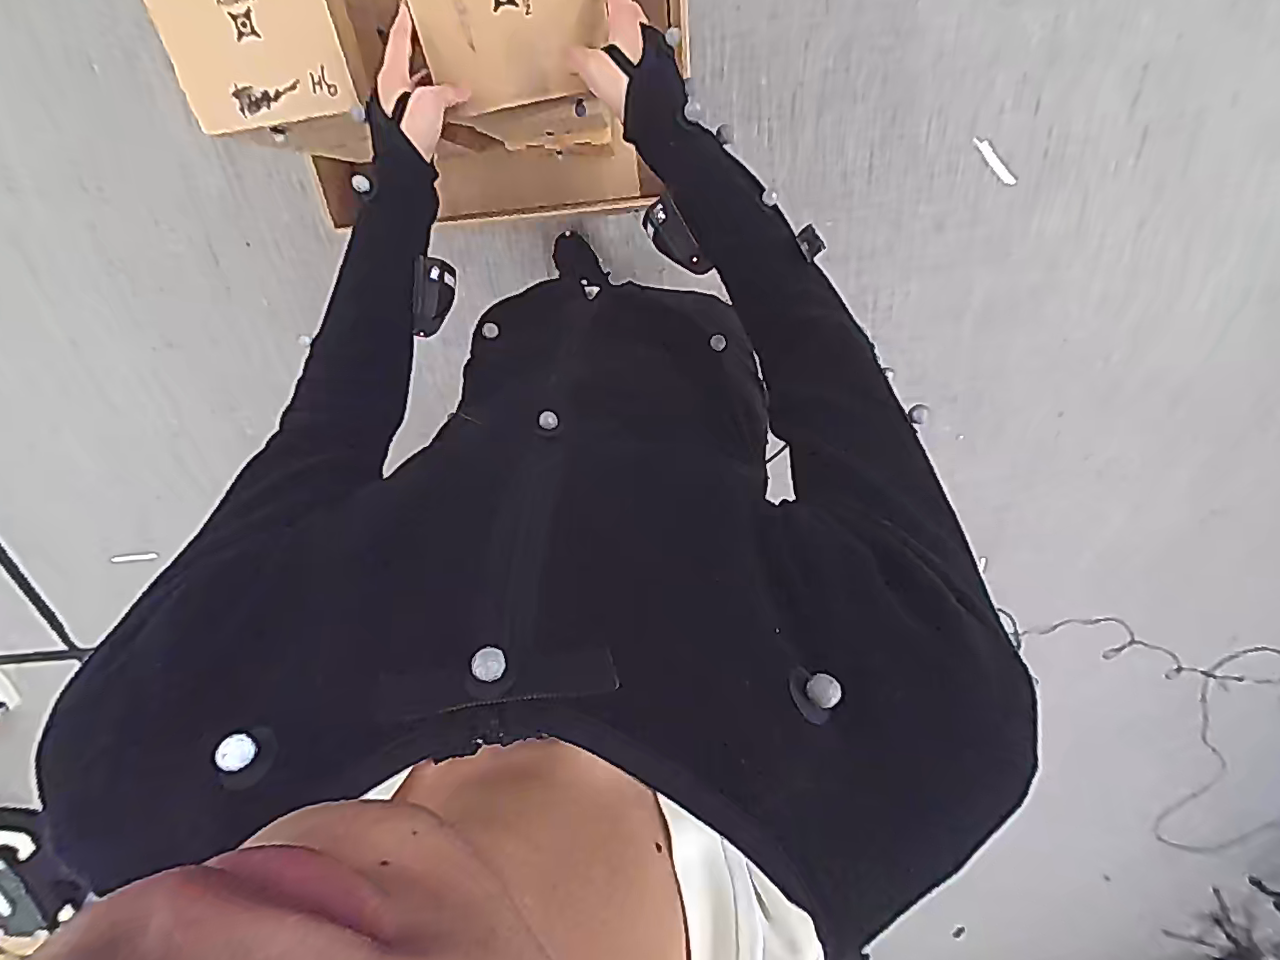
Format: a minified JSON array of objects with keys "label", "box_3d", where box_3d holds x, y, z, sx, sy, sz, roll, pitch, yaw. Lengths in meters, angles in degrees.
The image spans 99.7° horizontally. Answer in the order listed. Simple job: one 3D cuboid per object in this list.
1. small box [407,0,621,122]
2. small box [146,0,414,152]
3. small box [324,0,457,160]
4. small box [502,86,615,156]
[{"label":"small box","box_3d":[-0.125,-0.470,0.536,0.179,0.176,0.168,-12,121,1]},{"label":"small box","box_3d":[-0.367,-0.465,0.569,0.168,0.176,0.179,-7,116,4]},{"label":"small box","box_3d":[-0.363,-0.540,0.716,0.168,0.176,0.179,-7,117,3]},{"label":"small box","box_3d":[-0.129,-0.628,0.862,0.168,0.176,0.179,-2,117,2]}]
